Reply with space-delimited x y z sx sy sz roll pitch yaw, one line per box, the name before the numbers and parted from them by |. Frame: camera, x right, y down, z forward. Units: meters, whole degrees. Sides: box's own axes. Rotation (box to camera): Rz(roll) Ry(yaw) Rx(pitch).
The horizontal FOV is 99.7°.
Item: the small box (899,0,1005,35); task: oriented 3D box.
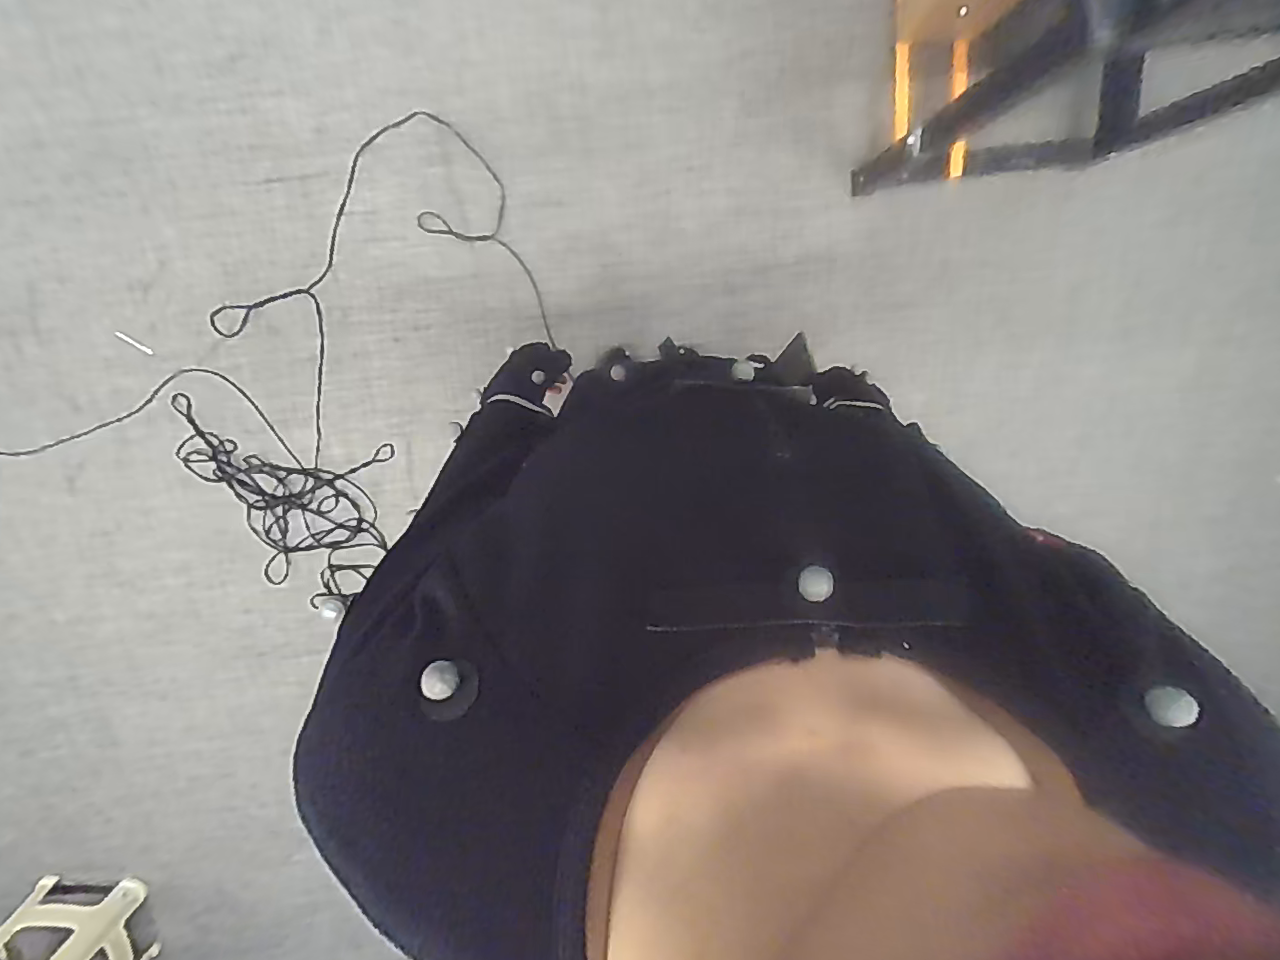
small box | 0.627 -1.003 1.049 0.179 0.176 0.168 -3 105 0
